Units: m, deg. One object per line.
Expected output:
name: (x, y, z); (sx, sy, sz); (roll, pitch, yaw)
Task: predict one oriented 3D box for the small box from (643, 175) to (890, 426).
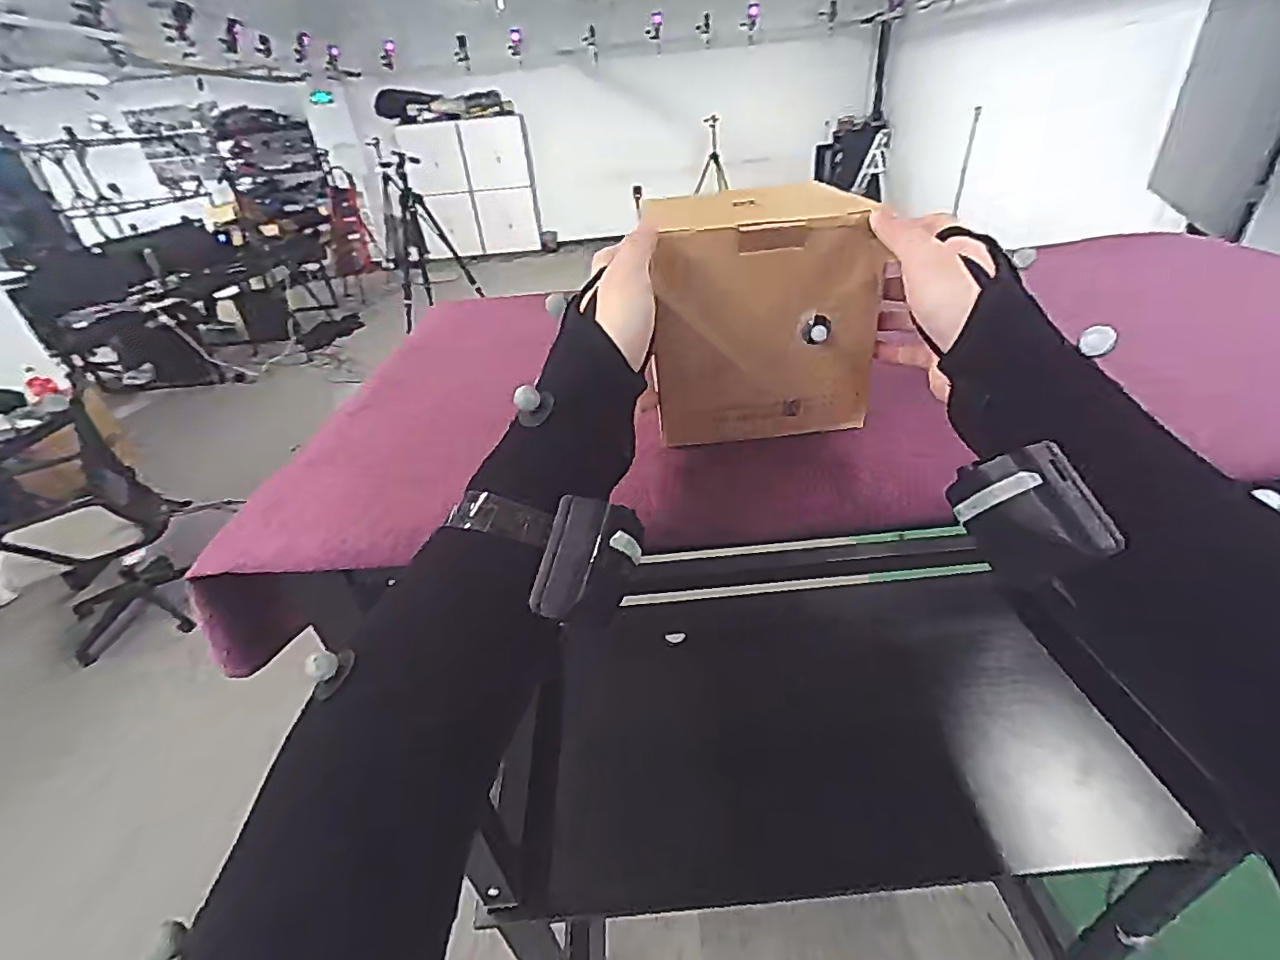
small box: (0.093, -0.154, 0.469); (0.168, 0.176, 0.179); (-5, 32, 2)
